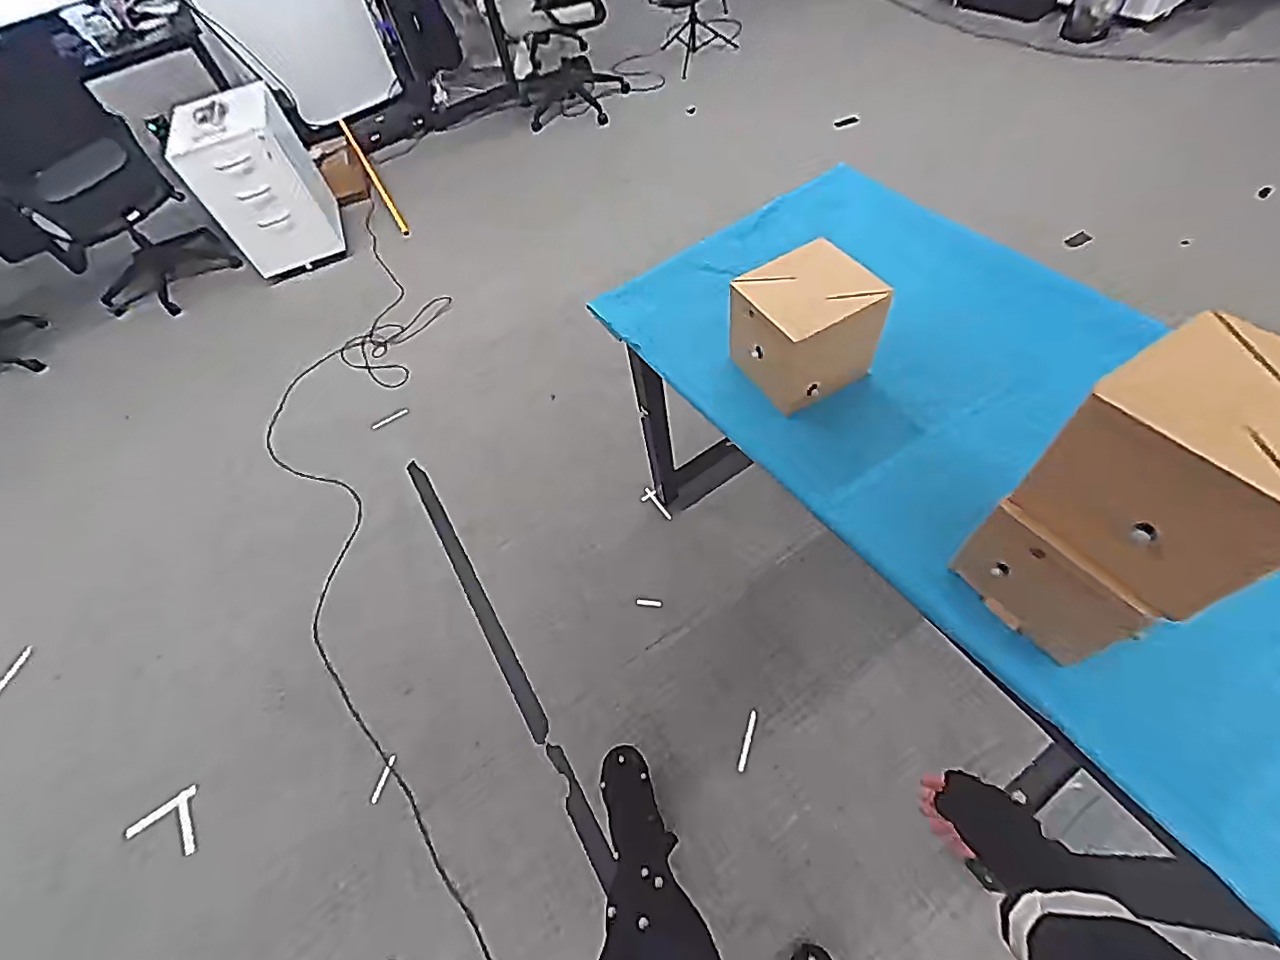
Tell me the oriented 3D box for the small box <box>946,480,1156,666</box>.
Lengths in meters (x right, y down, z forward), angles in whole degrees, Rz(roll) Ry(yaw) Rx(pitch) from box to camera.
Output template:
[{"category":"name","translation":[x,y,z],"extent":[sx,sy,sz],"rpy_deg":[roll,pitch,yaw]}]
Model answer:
[{"category":"small box","translation":[0.509,0.080,0.631],"extent":[0.179,0.176,0.168],"rpy_deg":[-32,58,-13]}]

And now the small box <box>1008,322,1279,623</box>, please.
[{"category":"small box","translation":[0.498,-0.009,0.493],"extent":[0.168,0.176,0.179],"rpy_deg":[-30,55,-13]}]

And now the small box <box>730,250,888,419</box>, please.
[{"category":"small box","translation":[0.261,-0.238,0.873],"extent":[0.179,0.176,0.168],"rpy_deg":[-29,58,-9]}]
